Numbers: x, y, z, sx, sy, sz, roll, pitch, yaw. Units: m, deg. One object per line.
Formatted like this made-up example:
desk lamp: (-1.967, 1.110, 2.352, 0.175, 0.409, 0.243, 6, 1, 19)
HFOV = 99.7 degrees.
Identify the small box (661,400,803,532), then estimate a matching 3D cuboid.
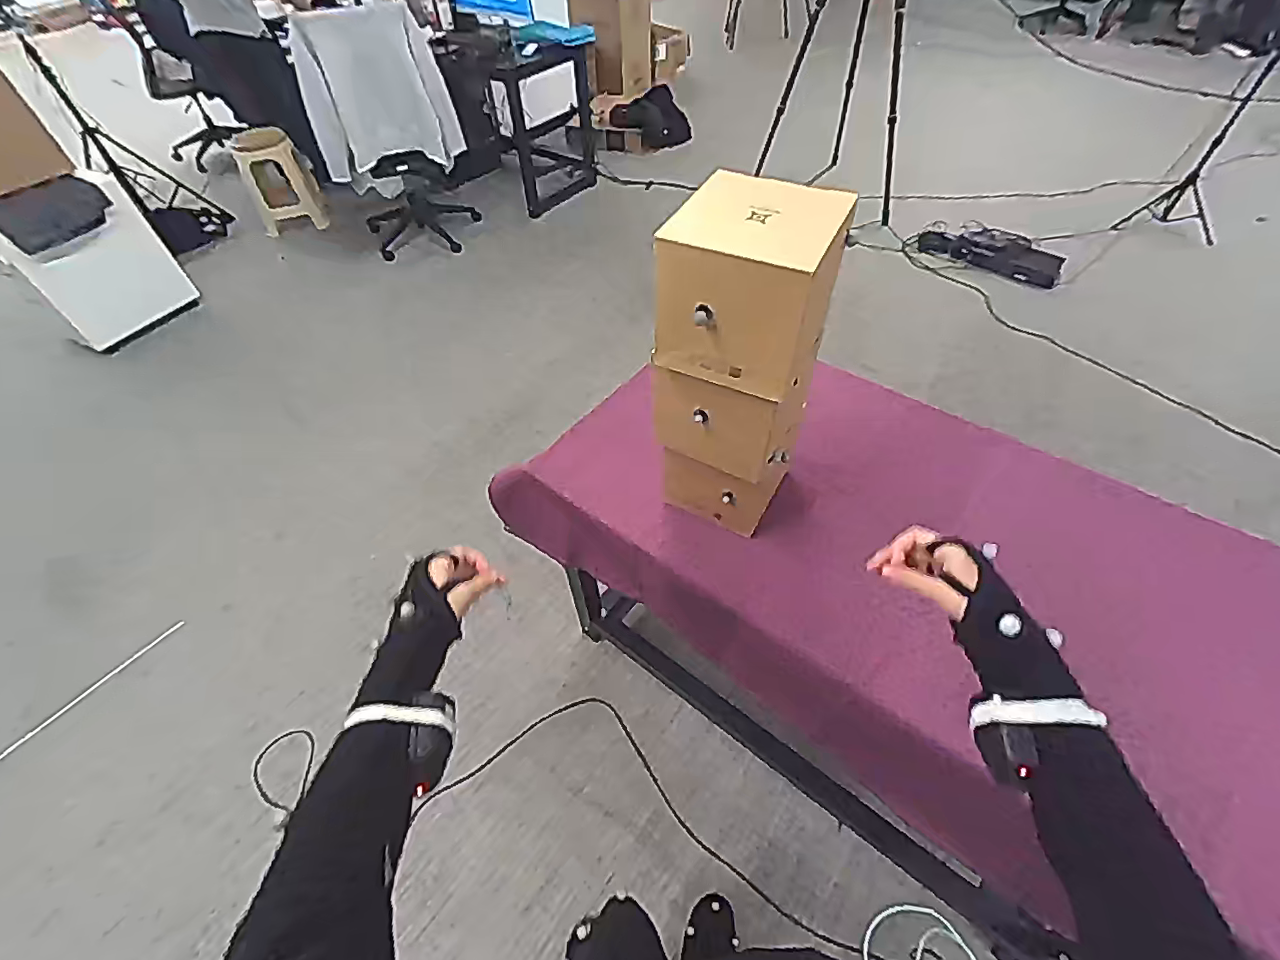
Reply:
small box: (0.148, -0.044, 0.895, 0.168, 0.176, 0.179, 24, 56, 20)

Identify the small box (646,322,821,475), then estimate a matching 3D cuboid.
small box: (0.125, -0.132, 0.757, 0.179, 0.176, 0.168, 24, 56, 20)

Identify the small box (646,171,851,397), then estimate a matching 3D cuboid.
small box: (0.120, -0.223, 0.622, 0.168, 0.176, 0.179, 21, 54, 18)
